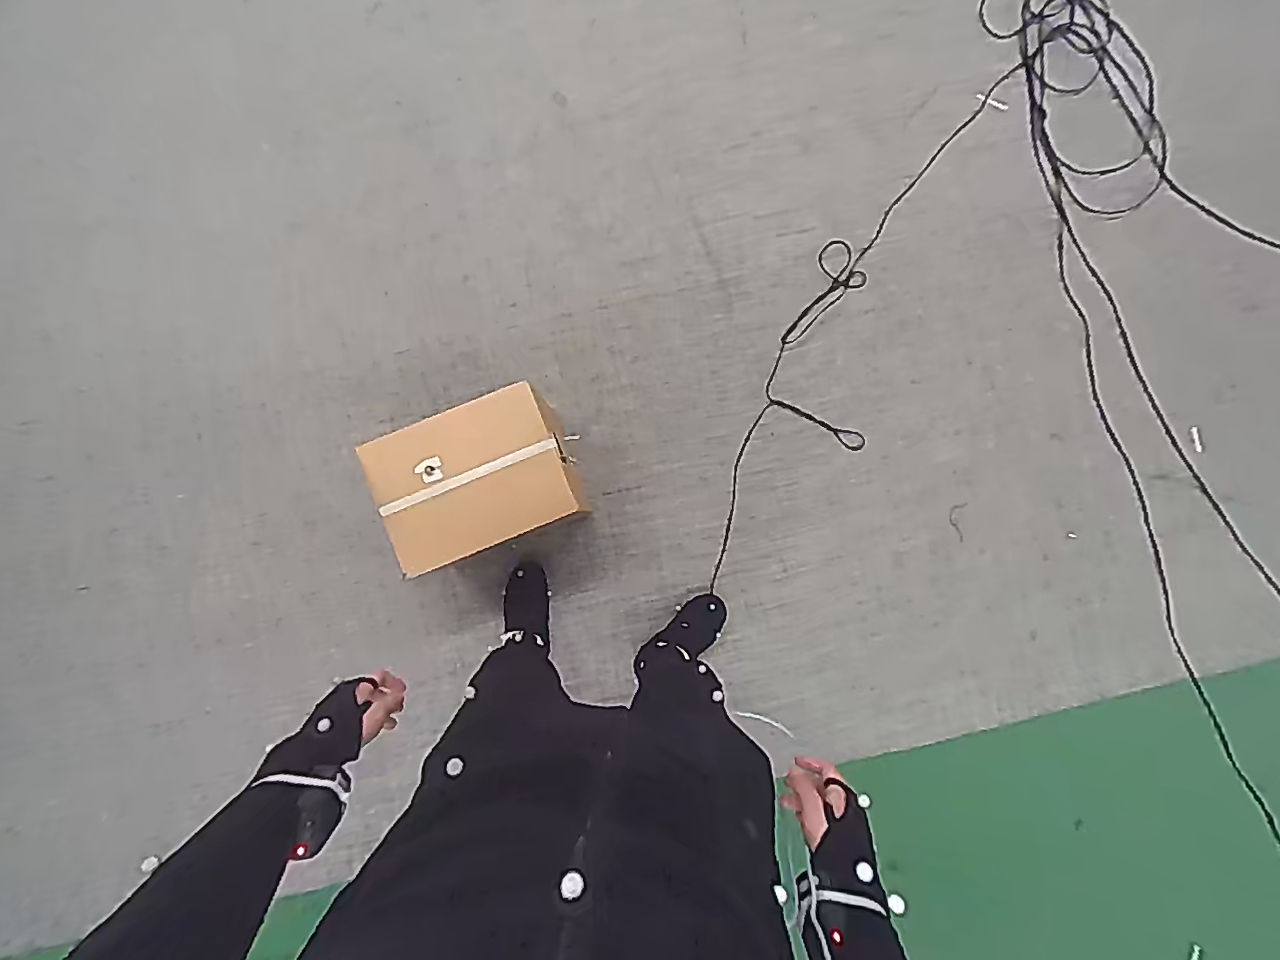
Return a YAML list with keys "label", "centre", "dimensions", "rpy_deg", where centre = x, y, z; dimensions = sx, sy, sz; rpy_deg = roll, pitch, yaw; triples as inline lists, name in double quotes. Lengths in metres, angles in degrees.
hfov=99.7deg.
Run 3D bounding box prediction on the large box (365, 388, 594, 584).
- label: "large box"
  centre: [-0.365, 0.017, 1.331]
  dimensions: [0.408, 0.320, 0.320]
  rpy_deg: [-22, 85, 0]
